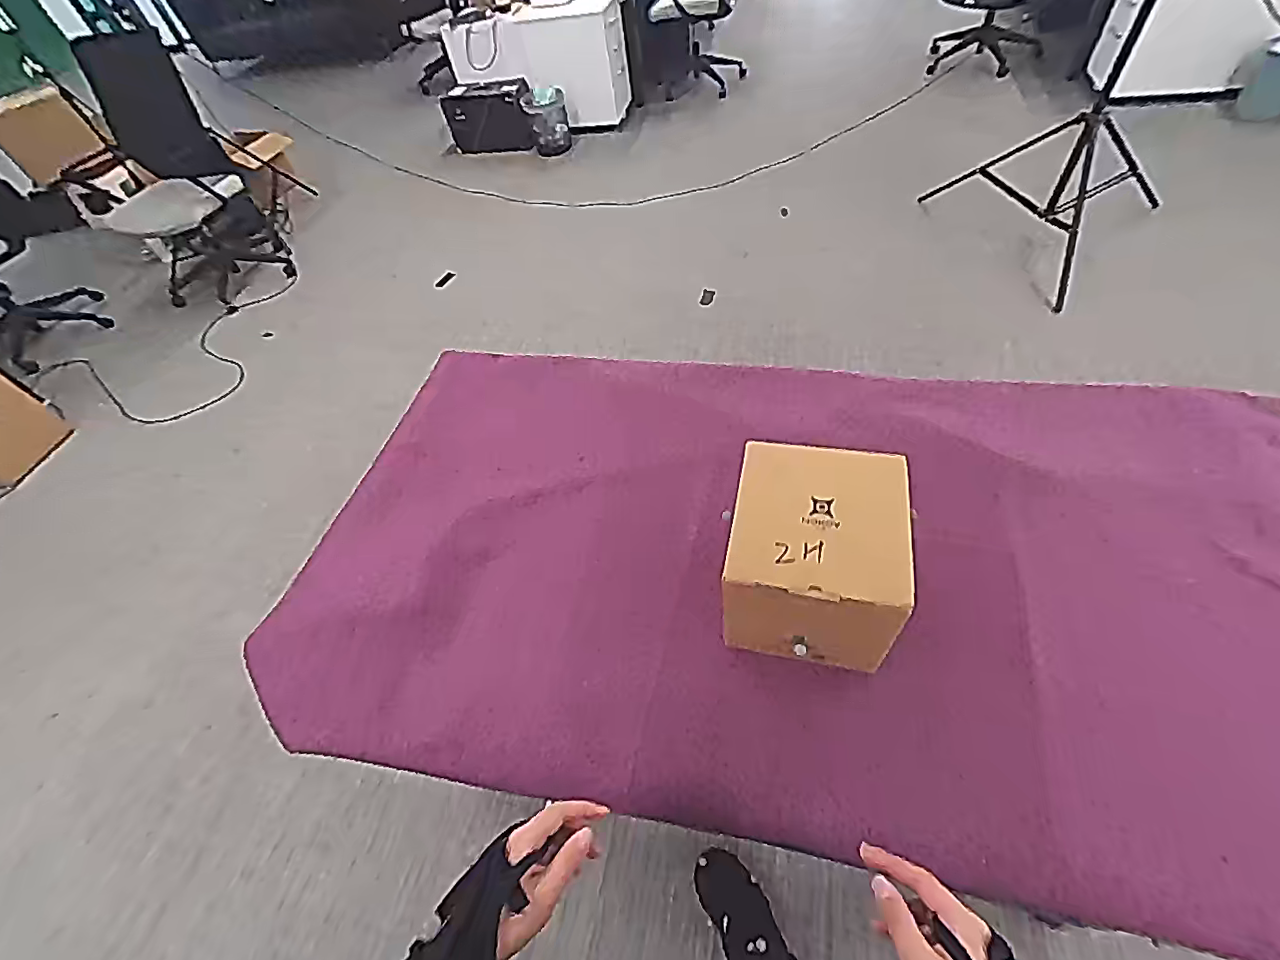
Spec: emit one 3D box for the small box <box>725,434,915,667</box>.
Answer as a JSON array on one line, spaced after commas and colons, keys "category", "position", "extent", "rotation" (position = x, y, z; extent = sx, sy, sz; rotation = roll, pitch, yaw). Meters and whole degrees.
[{"category": "small box", "position": [0.186, 0.076, 0.585], "extent": [0.168, 0.176, 0.179], "rotation": [7, 54, 15]}]
